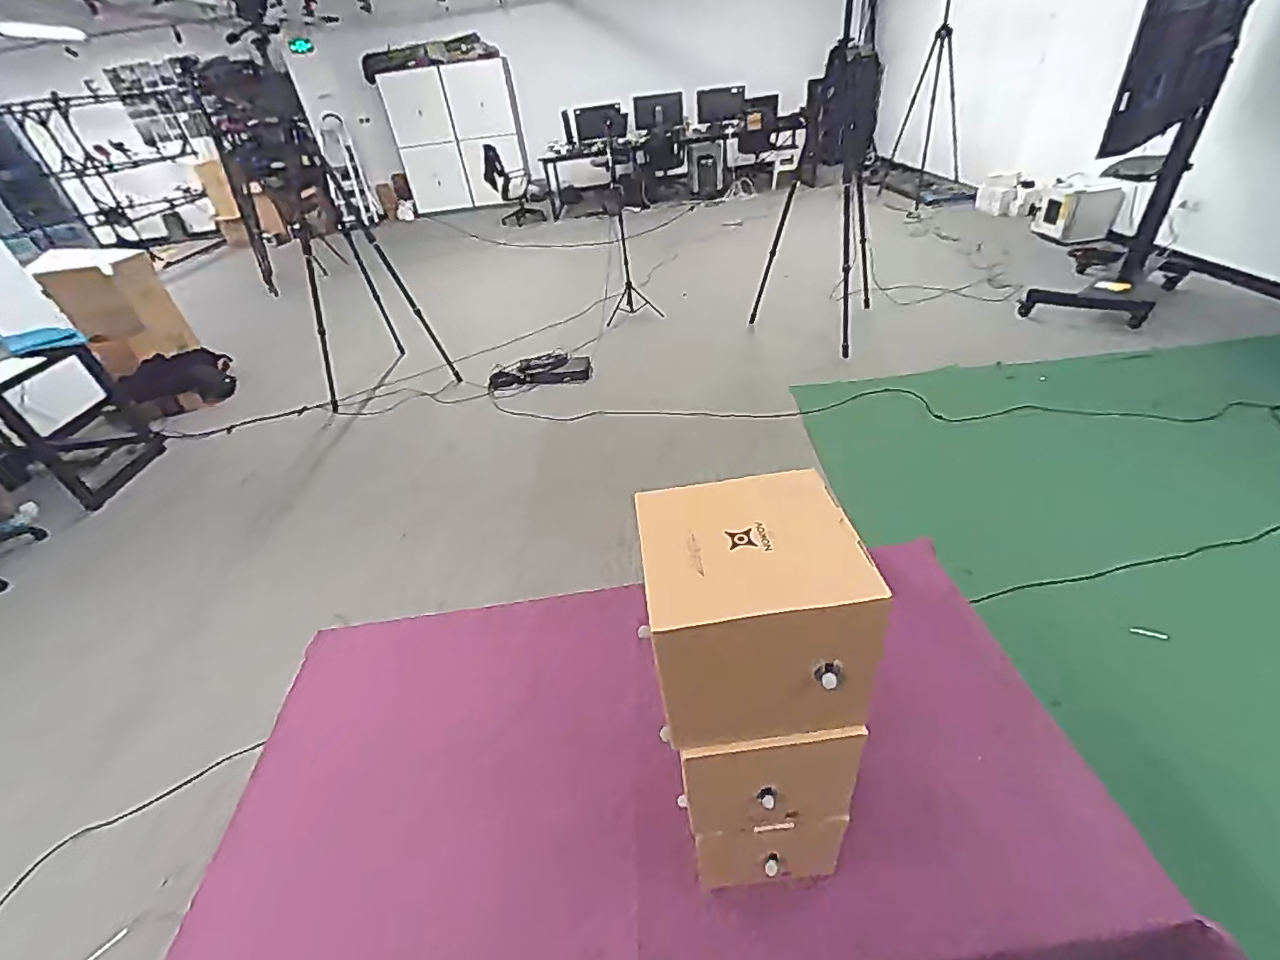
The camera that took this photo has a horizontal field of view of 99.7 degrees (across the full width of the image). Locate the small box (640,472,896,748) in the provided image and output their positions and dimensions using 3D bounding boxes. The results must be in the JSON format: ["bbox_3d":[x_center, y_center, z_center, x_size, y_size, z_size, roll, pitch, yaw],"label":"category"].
[{"bbox_3d":[0.099,0.116,0.491,0.179,0.176,0.168,-8,36,1],"label":"small box"}]

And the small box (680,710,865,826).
[{"bbox_3d":[0.122,0.248,0.585,0.168,0.176,0.179,-7,37,0],"label":"small box"}]

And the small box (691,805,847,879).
[{"bbox_3d":[0.144,0.379,0.685,0.168,0.176,0.179,-7,38,1],"label":"small box"}]
